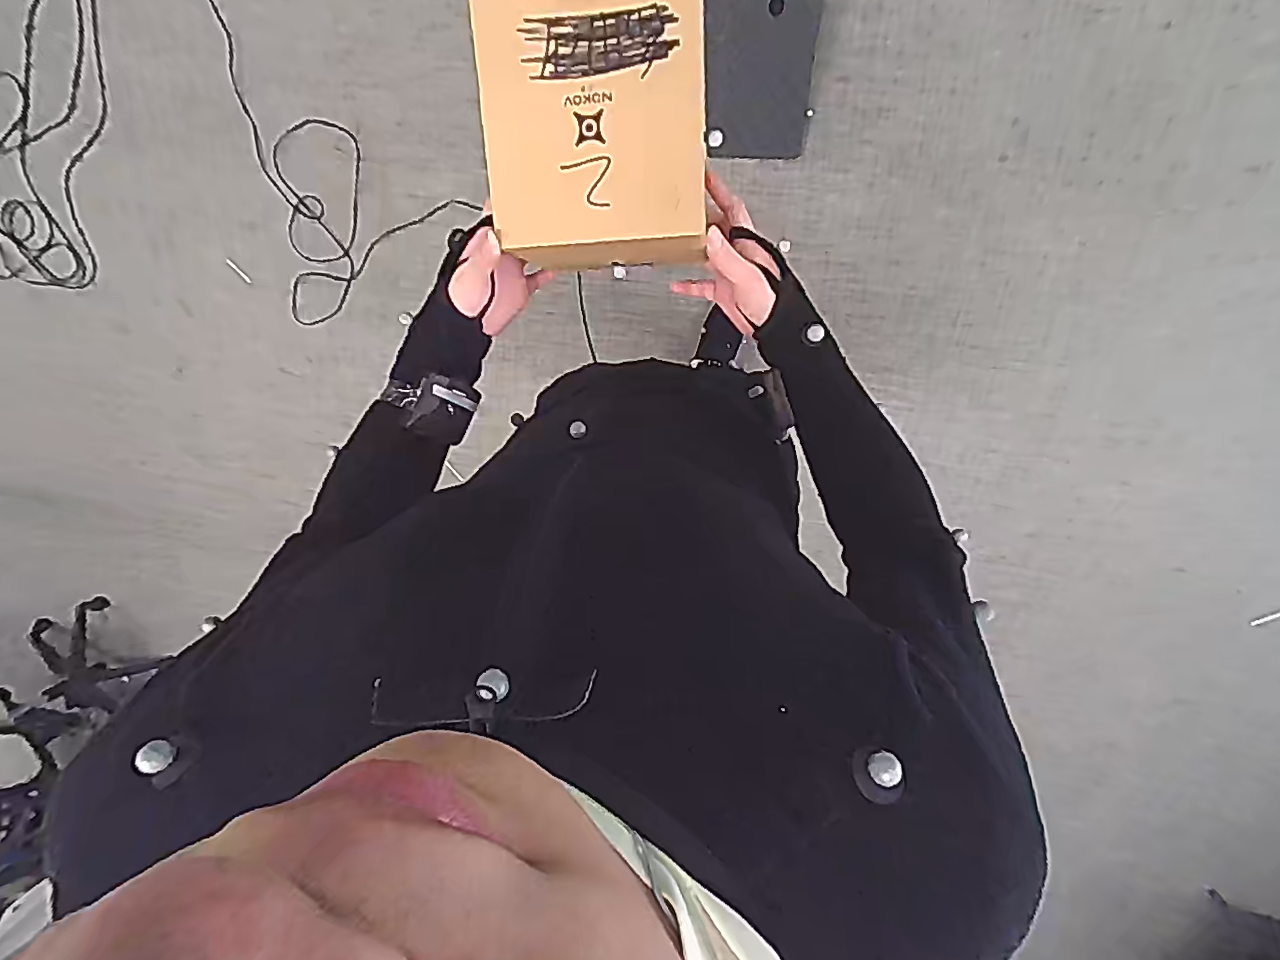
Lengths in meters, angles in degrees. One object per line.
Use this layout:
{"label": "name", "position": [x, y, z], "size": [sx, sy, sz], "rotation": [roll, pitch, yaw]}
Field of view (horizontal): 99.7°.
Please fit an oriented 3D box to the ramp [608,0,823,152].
{"label": "ramp", "position": [0.173, -1.272, 1.129], "size": [0.509, 0.206, 0.991], "rotation": [5, 109, 8]}
